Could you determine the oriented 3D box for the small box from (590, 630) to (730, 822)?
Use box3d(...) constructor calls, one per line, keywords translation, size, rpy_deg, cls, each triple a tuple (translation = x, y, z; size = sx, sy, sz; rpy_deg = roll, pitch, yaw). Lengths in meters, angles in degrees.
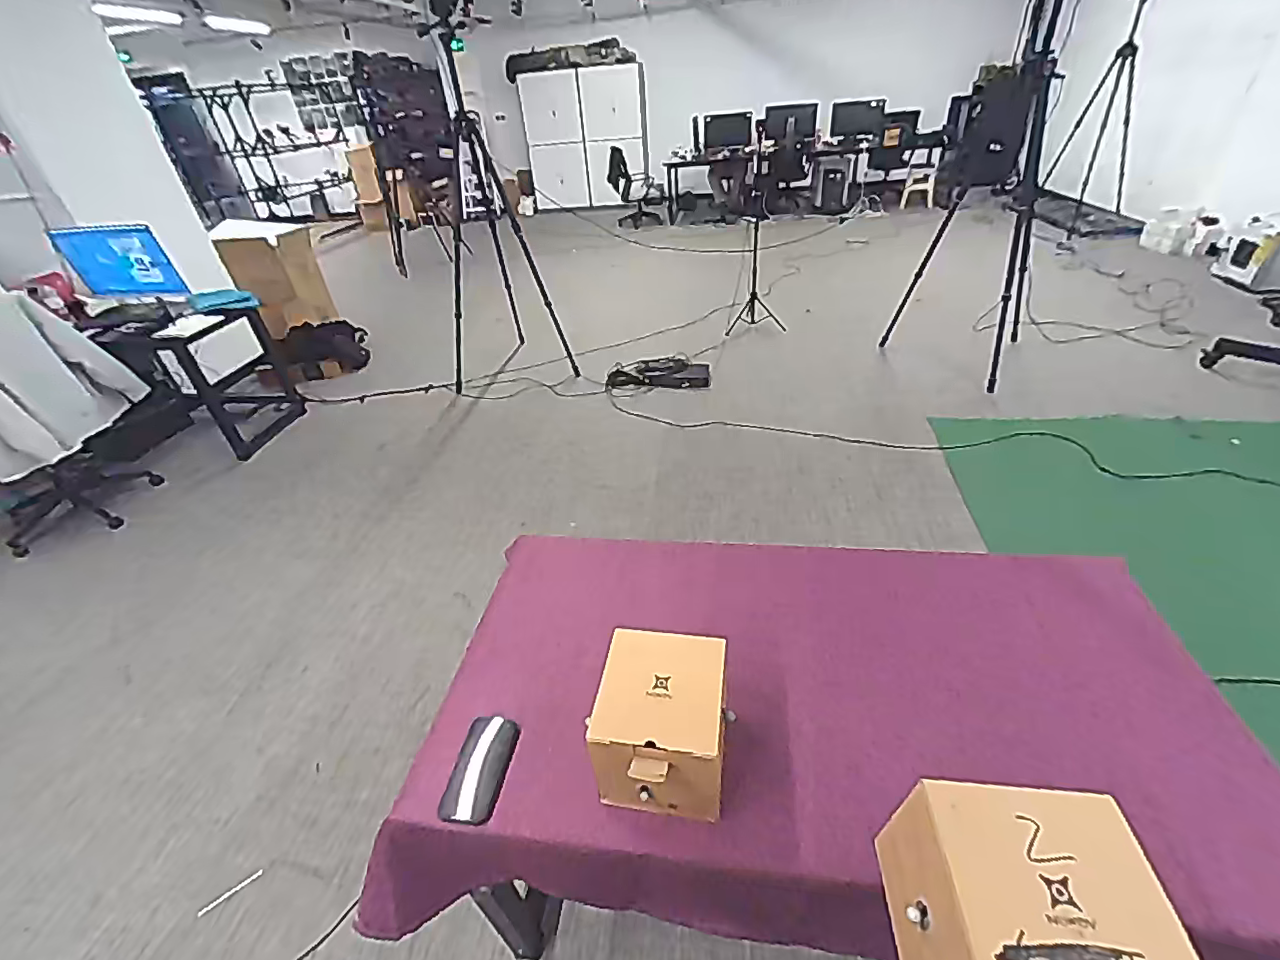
box3d(translation=(0.036, 0.343, 0.766), size=(0.168, 0.176, 0.179), rpy_deg=(4, 36, 11), cls="small box")
